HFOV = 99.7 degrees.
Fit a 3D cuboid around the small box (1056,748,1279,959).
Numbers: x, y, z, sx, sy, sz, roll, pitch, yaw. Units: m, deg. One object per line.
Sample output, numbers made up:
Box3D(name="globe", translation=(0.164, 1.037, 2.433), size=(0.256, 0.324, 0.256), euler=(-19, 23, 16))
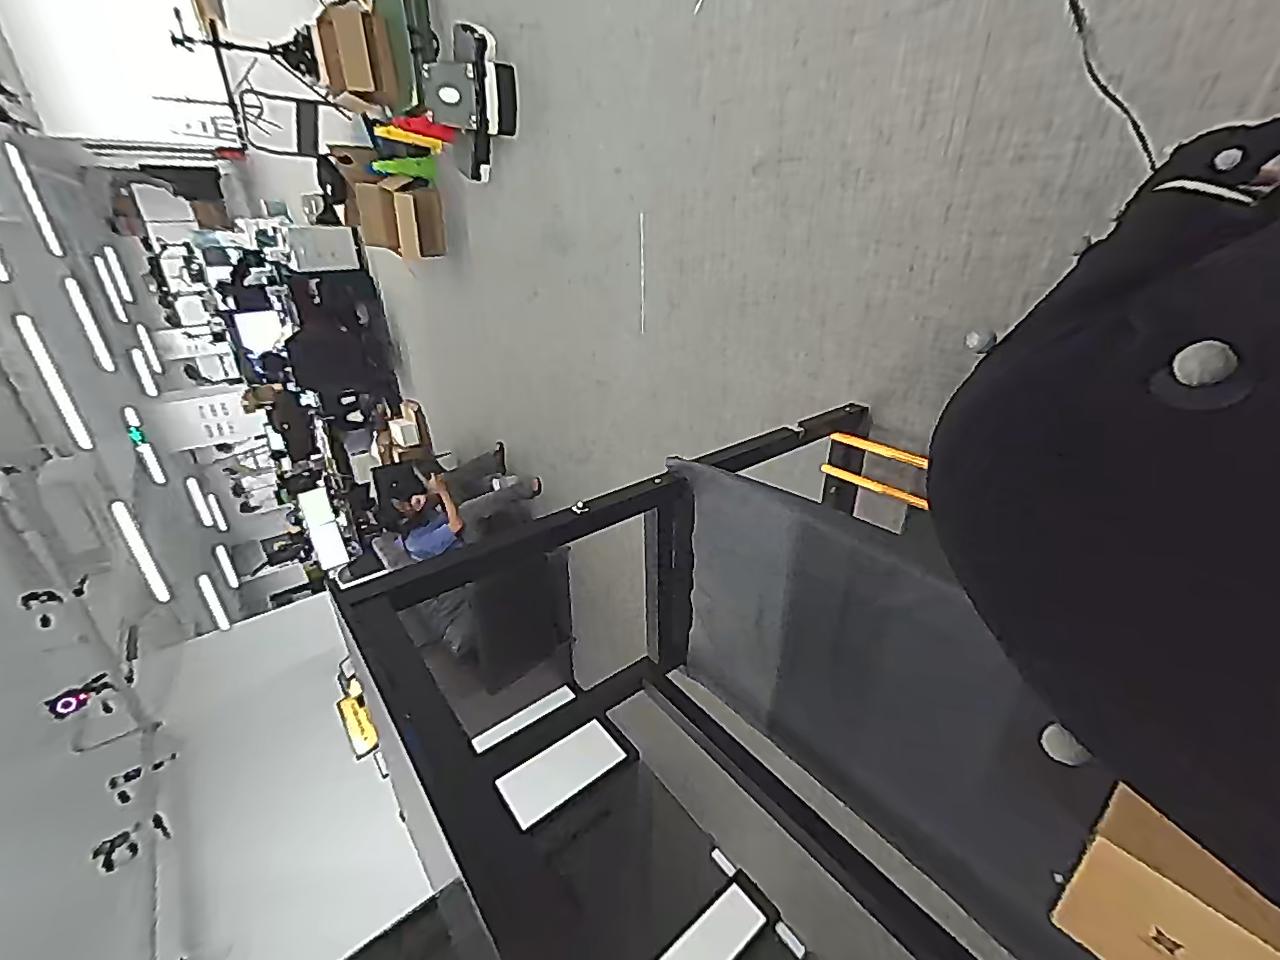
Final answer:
Box3D(name="small box", translation=(0.623, 0.453, 0.618), size=(0.168, 0.176, 0.179), euler=(28, 129, 46))
